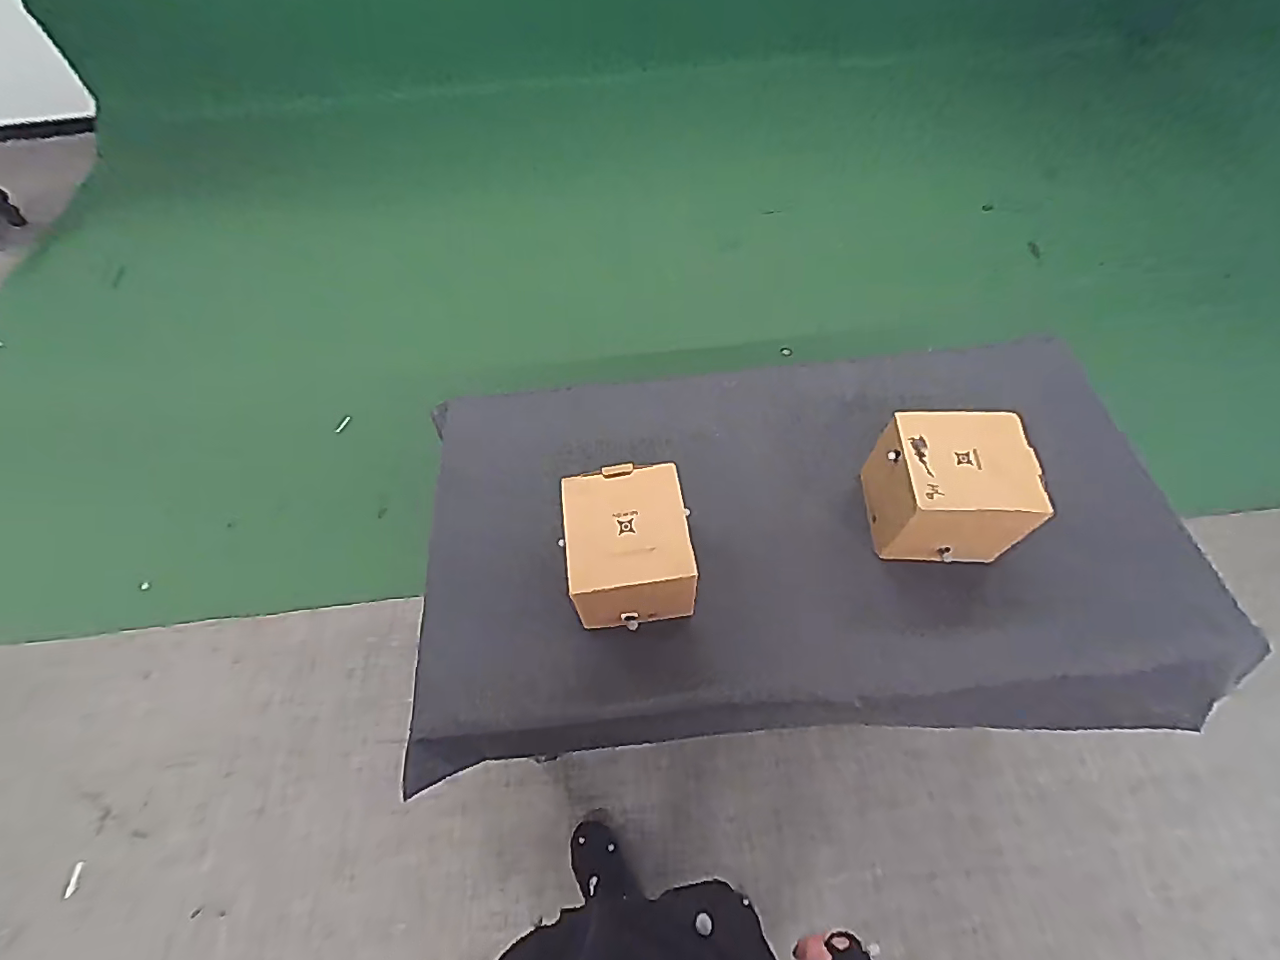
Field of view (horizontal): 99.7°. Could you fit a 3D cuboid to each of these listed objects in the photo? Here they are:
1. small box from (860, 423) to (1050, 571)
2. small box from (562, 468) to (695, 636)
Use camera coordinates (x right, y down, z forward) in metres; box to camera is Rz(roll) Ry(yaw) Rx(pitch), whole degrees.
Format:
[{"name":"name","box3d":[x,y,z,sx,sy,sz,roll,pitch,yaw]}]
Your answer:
[{"name":"small box","box3d":[0.459,0.031,0.821,0.179,0.176,0.168,2,58,3]},{"name":"small box","box3d":[-0.016,0.107,0.776,0.168,0.176,0.179,-7,58,0]}]
